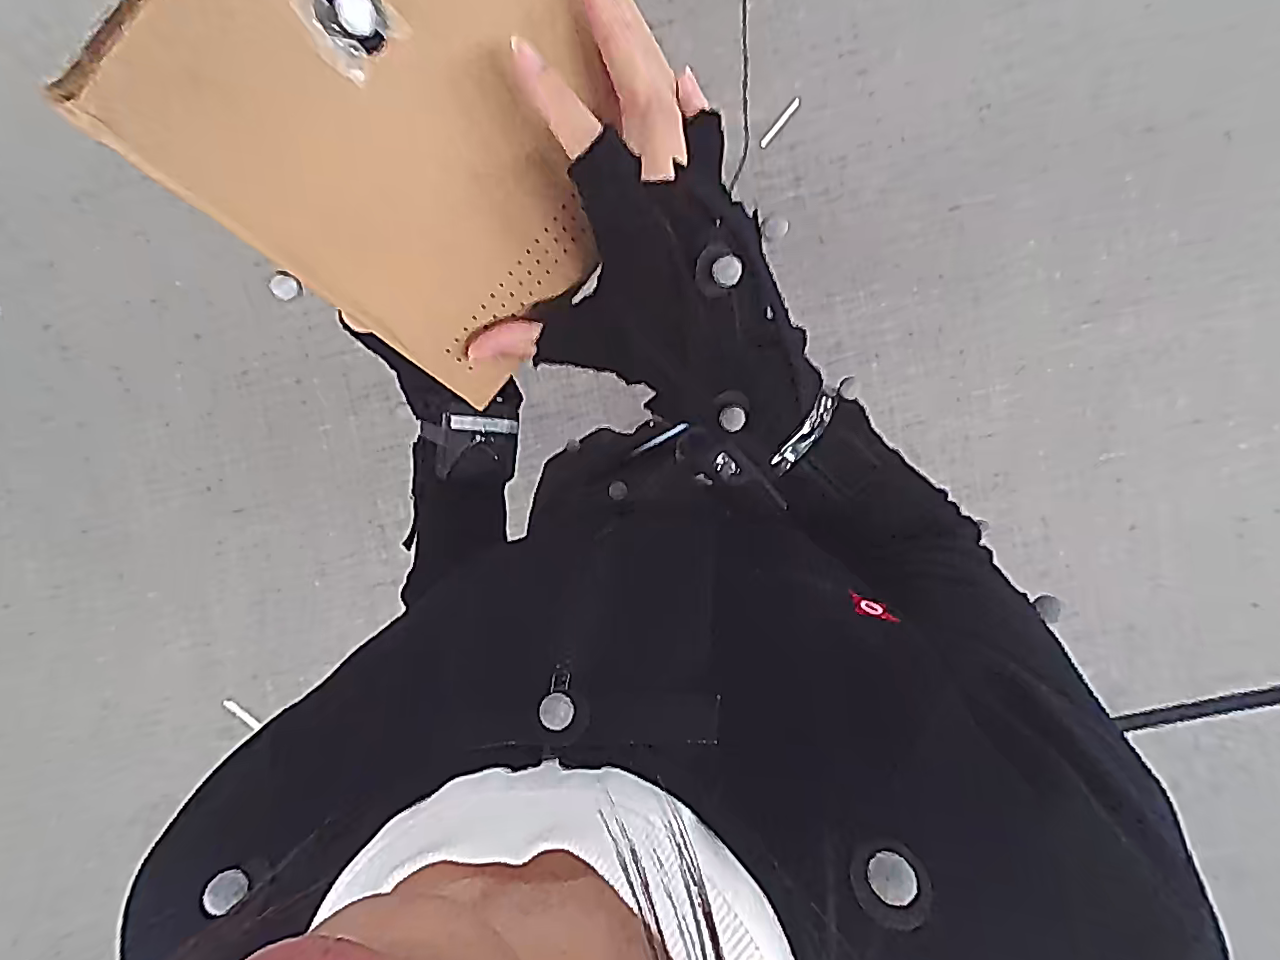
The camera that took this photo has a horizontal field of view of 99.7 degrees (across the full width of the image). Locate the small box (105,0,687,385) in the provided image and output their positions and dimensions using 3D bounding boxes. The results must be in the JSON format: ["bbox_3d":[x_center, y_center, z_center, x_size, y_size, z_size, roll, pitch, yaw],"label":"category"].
[{"bbox_3d":[-0.109,-0.179,0.284,0.179,0.168,0.176,-50,133,2],"label":"small box"}]
